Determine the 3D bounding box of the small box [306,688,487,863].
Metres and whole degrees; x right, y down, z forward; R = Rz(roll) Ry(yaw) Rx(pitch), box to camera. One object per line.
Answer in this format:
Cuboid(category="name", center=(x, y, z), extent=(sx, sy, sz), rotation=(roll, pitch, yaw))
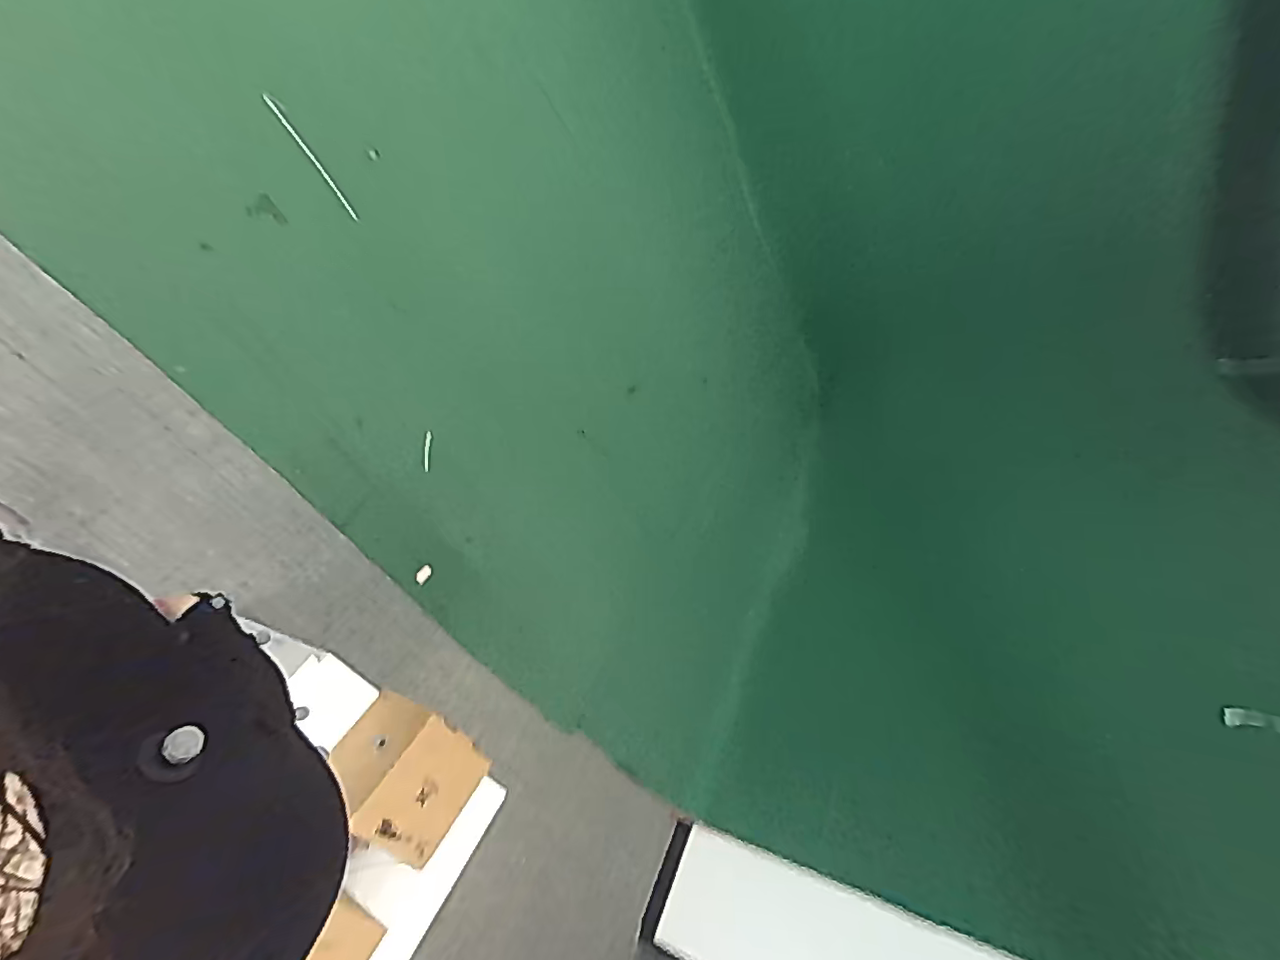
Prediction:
Cuboid(category="small box", center=(-0.396, 0.470, 0.884), extent=(0.179, 0.176, 0.168), rotation=(-54, 128, -36))
